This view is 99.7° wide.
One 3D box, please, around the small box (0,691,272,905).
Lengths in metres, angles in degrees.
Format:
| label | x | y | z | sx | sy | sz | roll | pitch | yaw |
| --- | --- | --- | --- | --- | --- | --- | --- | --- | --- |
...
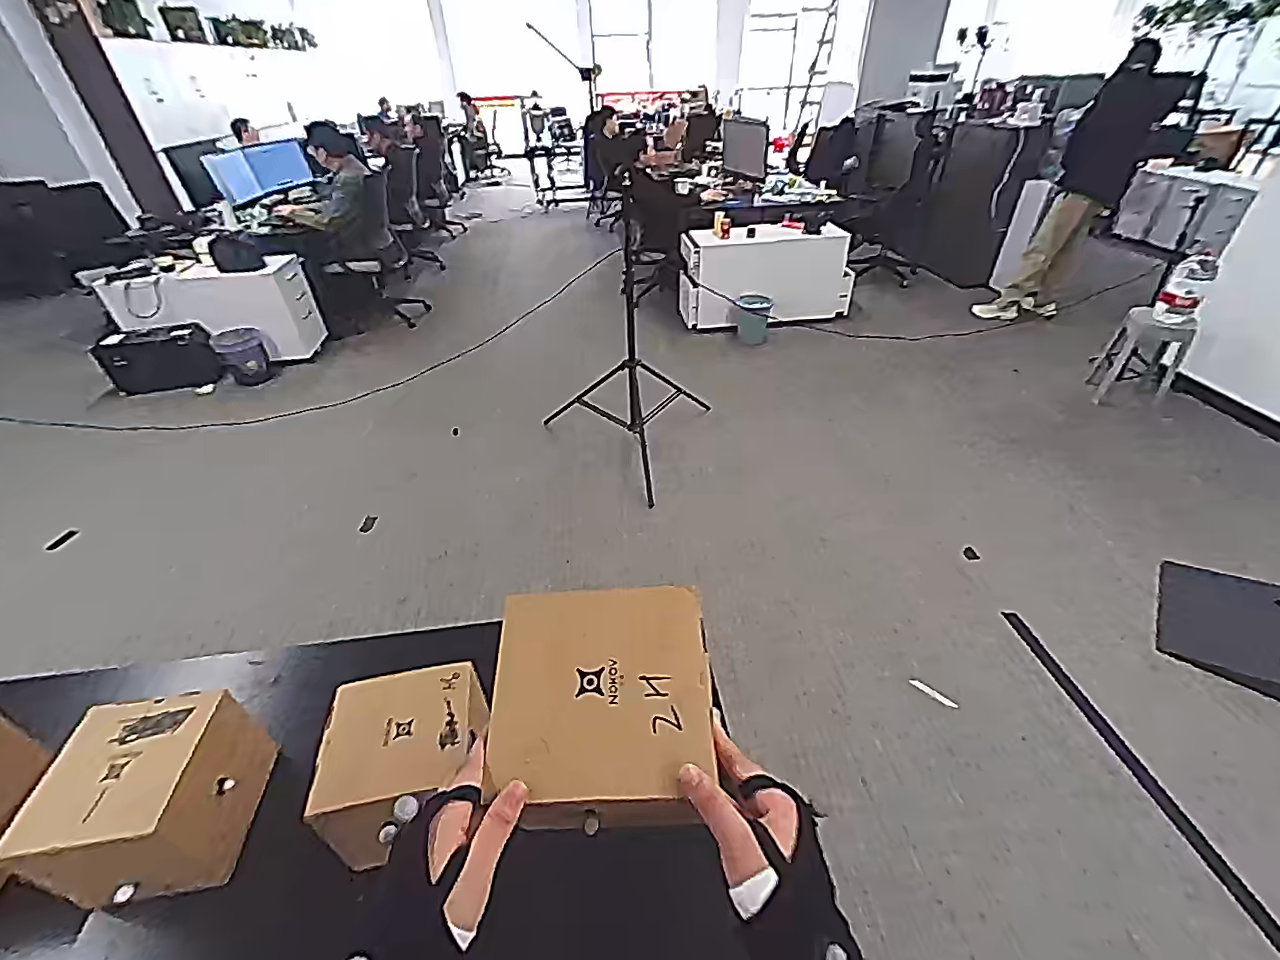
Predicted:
| label | x | y | z | sx | sy | sz | roll | pitch | yaw |
| --- | --- | --- | --- | --- | --- | --- | --- | --- | --- |
| small box | -0.614 | 0.405 | 0.696 | 0.168 | 0.176 | 0.179 | -7 | 38 | -6 |

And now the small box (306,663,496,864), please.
| label | x | y | z | sx | sy | sz | roll | pitch | yaw |
| --- | --- | --- | --- | --- | --- | --- | --- | --- | --- |
| small box | -0.298 | 0.376 | 0.720 | 0.179 | 0.176 | 0.168 | -9 | 38 | -8 |
